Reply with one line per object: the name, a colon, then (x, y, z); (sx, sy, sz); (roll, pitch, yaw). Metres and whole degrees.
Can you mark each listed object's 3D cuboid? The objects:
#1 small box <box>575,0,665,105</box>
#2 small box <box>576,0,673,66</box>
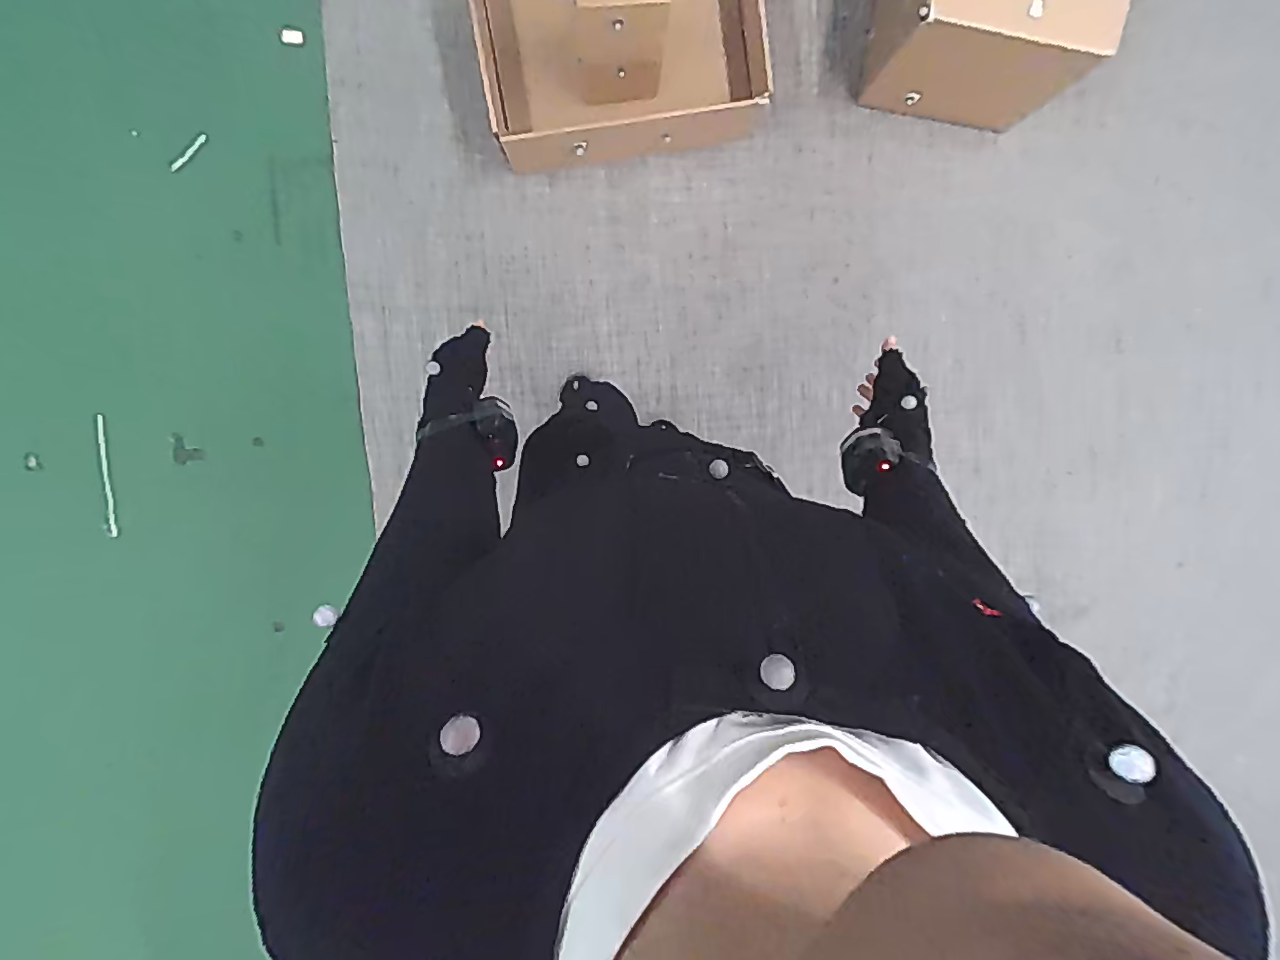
small box: (-0.047, -0.975, 1.210); (0.179, 0.176, 0.168); (-8, 98, -3)
small box: (-0.036, -0.942, 1.048); (0.179, 0.176, 0.168); (-5, 98, -3)
